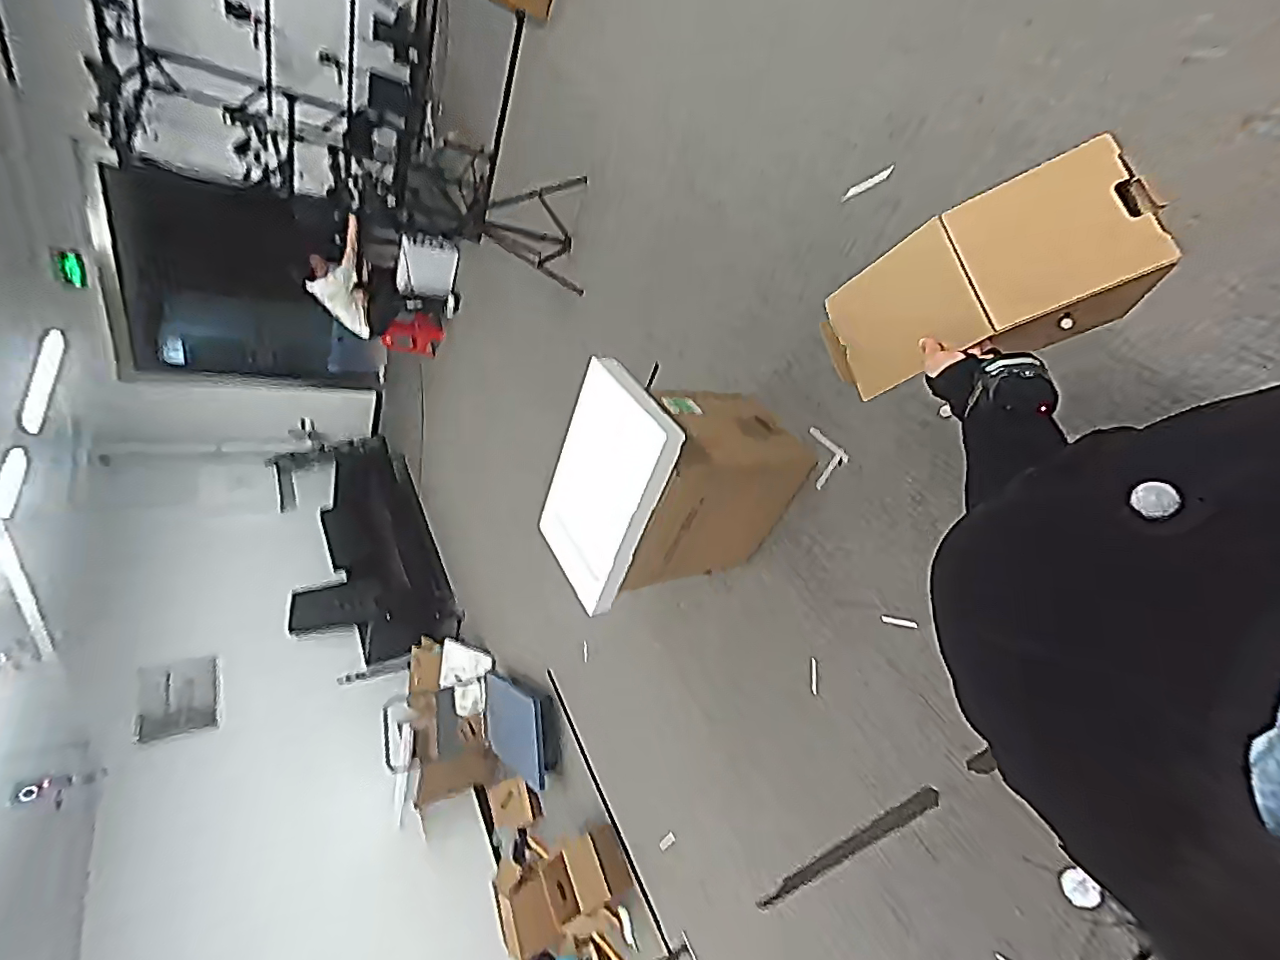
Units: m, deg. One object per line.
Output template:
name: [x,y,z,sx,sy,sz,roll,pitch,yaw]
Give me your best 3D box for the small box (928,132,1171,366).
small box: [0.477,-0.263,0.666,0.179,0.176,0.168,-22,76,23]
